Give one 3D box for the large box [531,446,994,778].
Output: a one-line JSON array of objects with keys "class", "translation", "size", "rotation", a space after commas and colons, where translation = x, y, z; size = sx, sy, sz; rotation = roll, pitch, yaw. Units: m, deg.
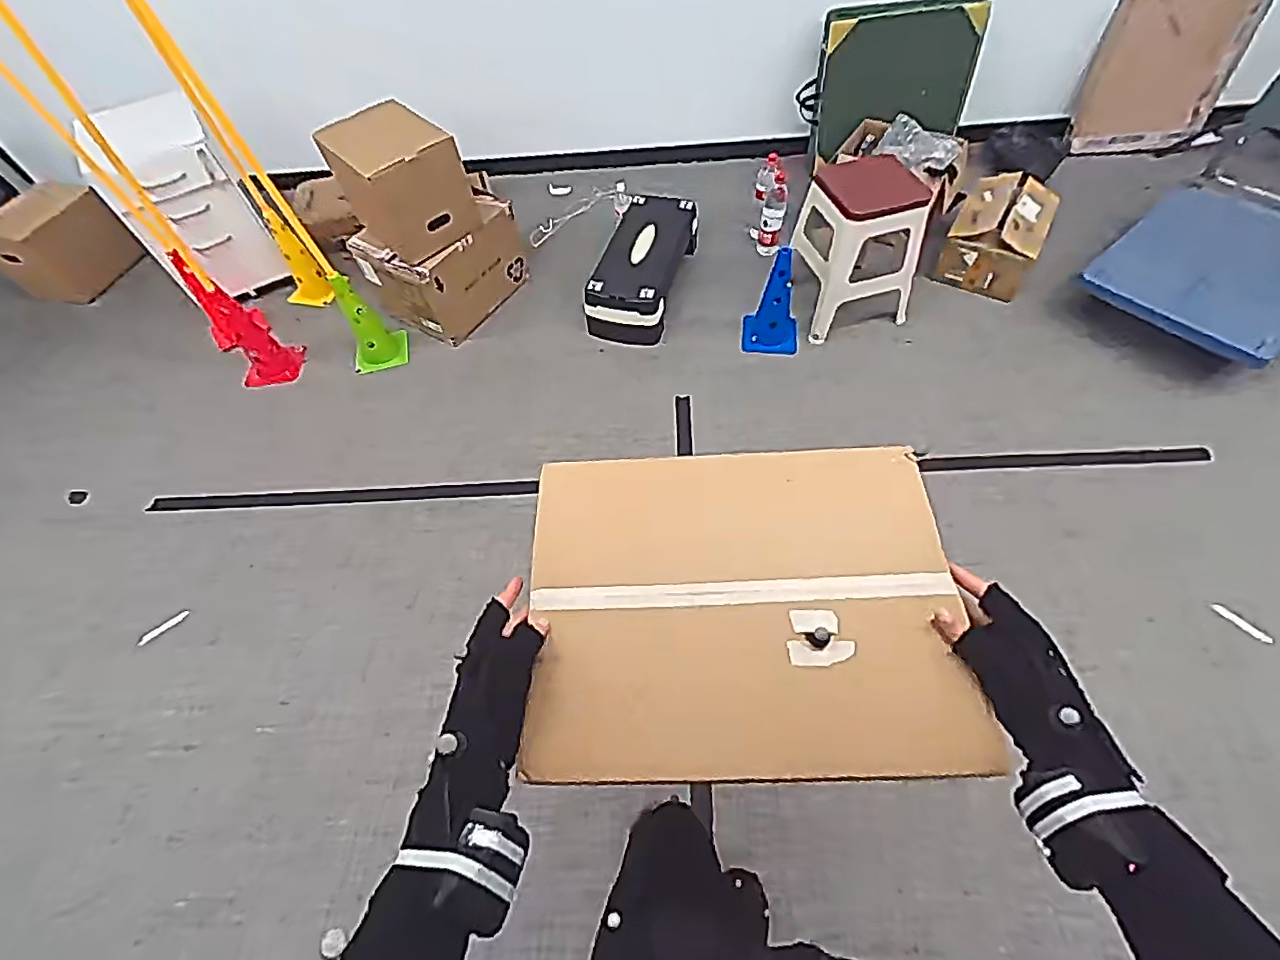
[{"class": "large box", "translation": [0.104, 0.179, 0.660], "size": [0.408, 0.320, 0.320], "rotation": [-3, 61, 2]}]
